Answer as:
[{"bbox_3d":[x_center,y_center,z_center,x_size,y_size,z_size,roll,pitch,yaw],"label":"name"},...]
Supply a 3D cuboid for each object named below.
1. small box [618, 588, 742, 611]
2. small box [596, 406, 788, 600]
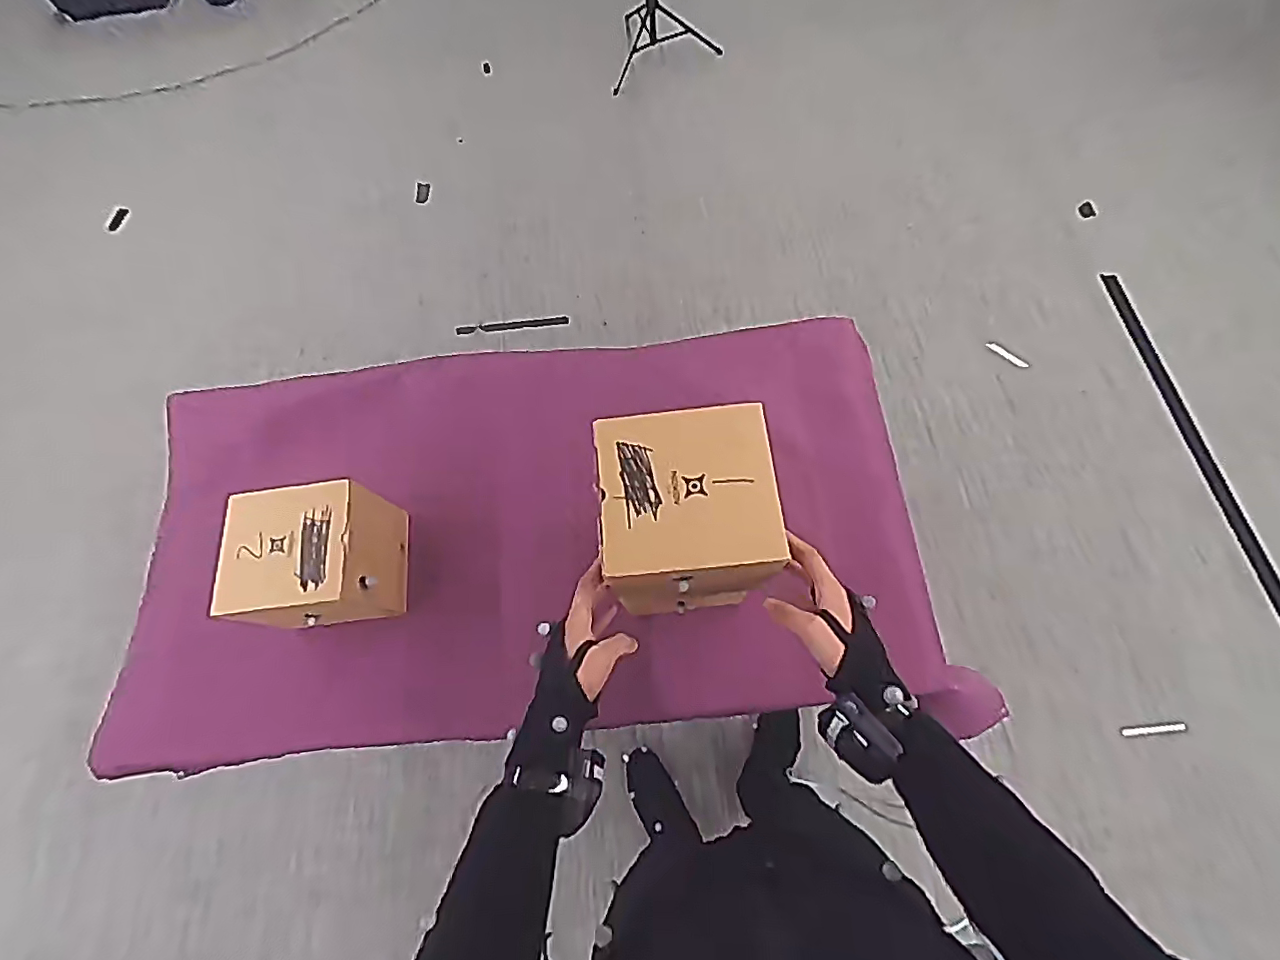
[{"bbox_3d":[0.054,0.085,0.761,0.168,0.176,0.179,-7,69,2],"label":"small box"},{"bbox_3d":[0.052,0.036,0.603,0.179,0.176,0.168,-5,70,2],"label":"small box"}]
